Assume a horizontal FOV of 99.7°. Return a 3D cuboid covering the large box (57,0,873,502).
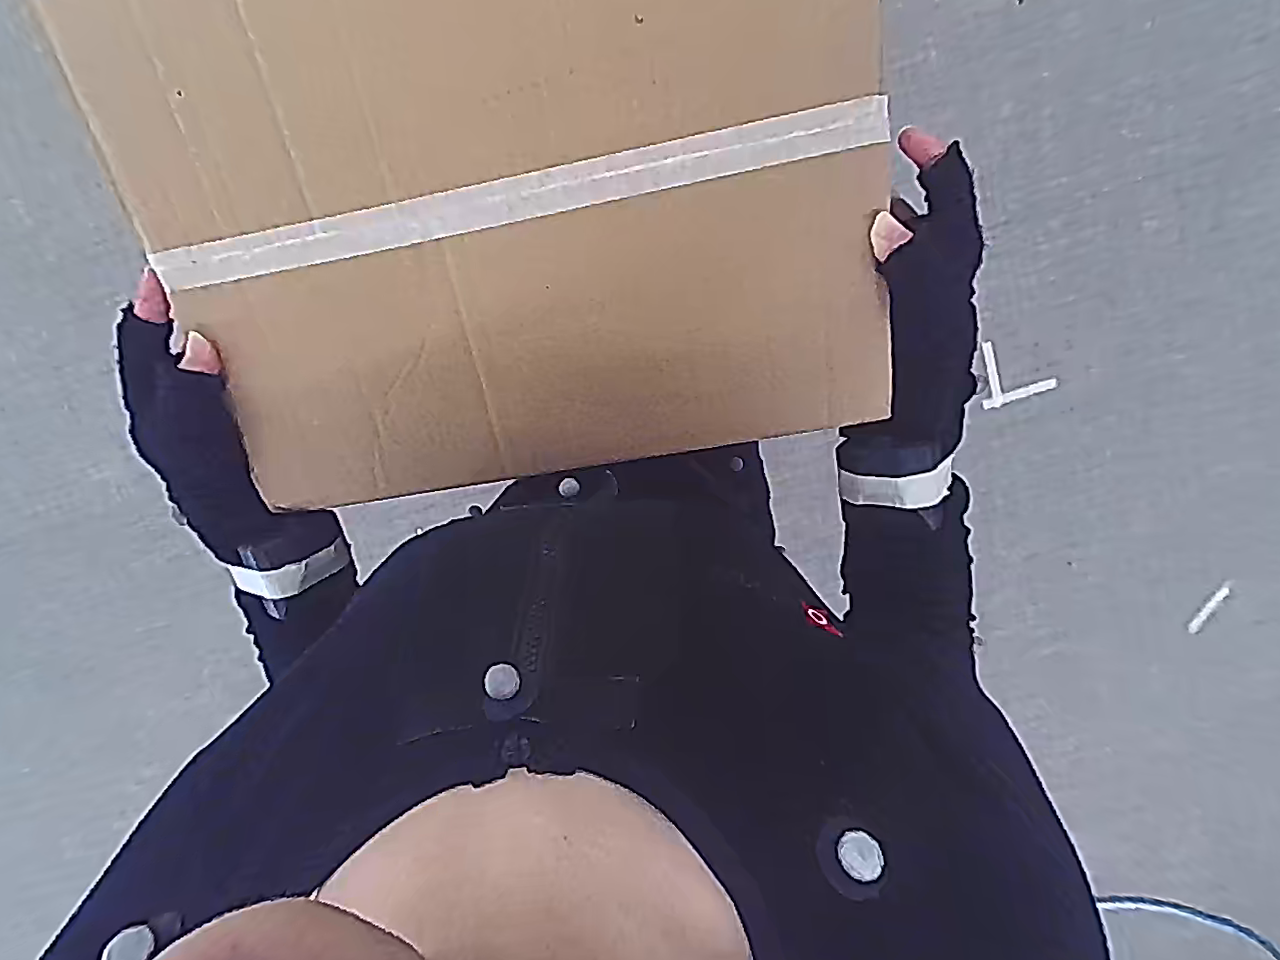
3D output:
[{"bbox_3d":[-0.071,-0.212,0.440,0.408,0.320,0.320,-9,110,5],"label":"large box"}]
